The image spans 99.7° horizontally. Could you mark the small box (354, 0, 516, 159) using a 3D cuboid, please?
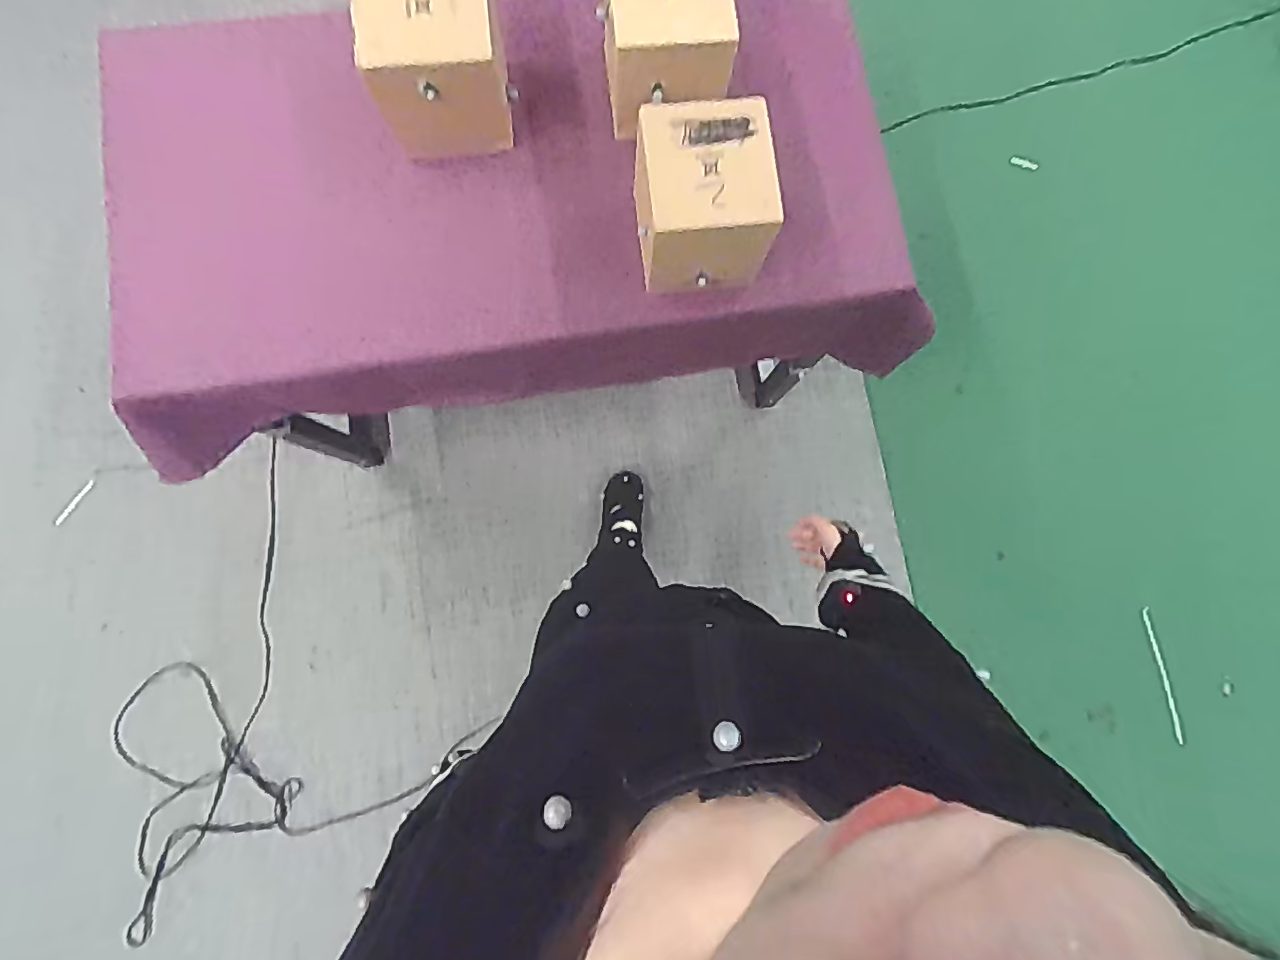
[{"bbox_3d":[-0.287,-0.596,0.783,0.179,0.176,0.168,-6,83,-4],"label":"small box"}]

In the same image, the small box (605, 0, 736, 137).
[{"bbox_3d":[0.038,-0.640,0.800,0.168,0.176,0.179,-6,81,-3],"label":"small box"}]
